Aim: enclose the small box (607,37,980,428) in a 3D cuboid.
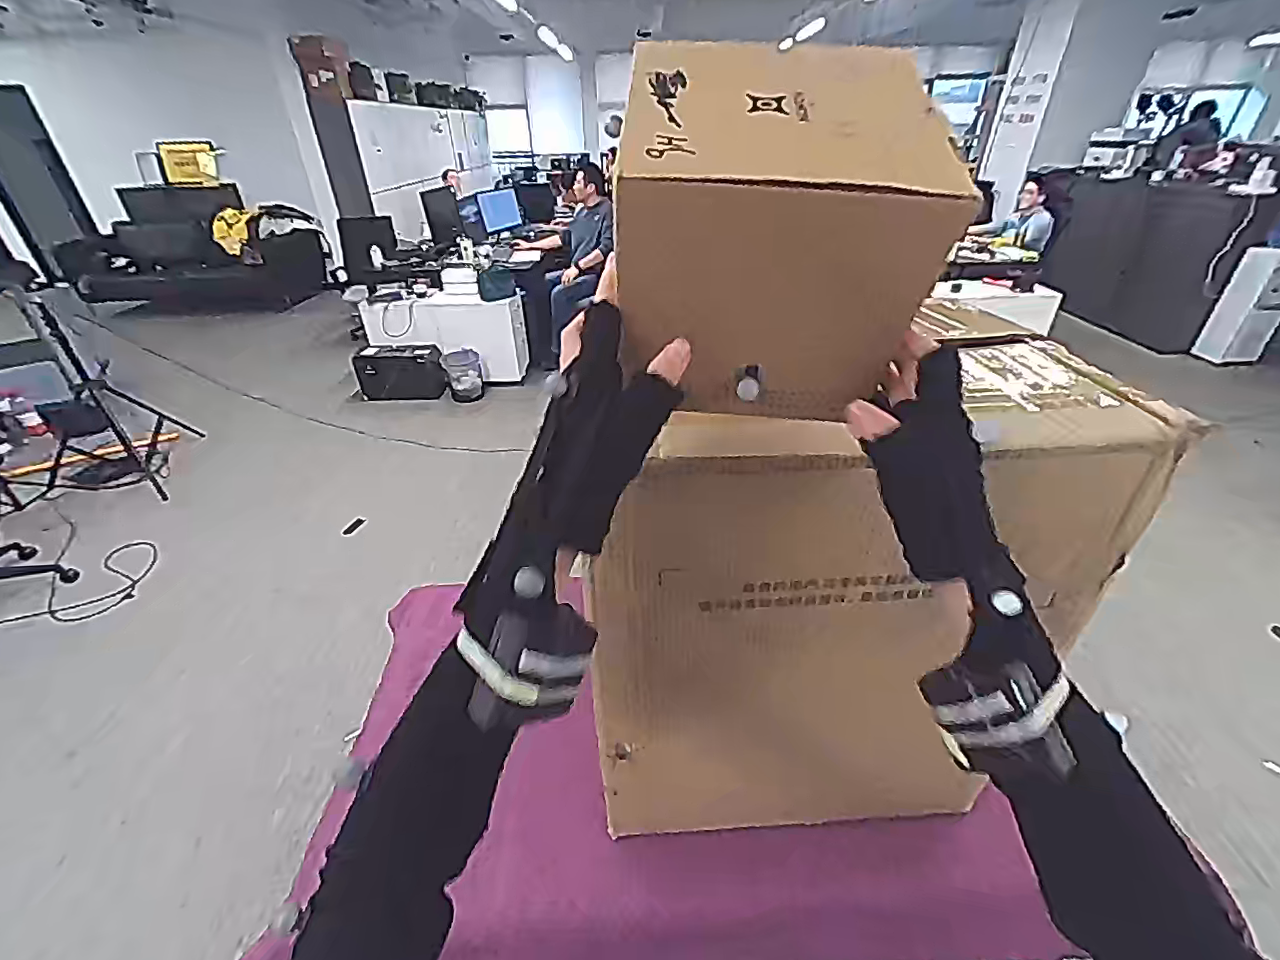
[{"bbox_3d":[0.073,-0.150,0.356,0.179,0.176,0.168,4,58,1],"label":"small box"}]
